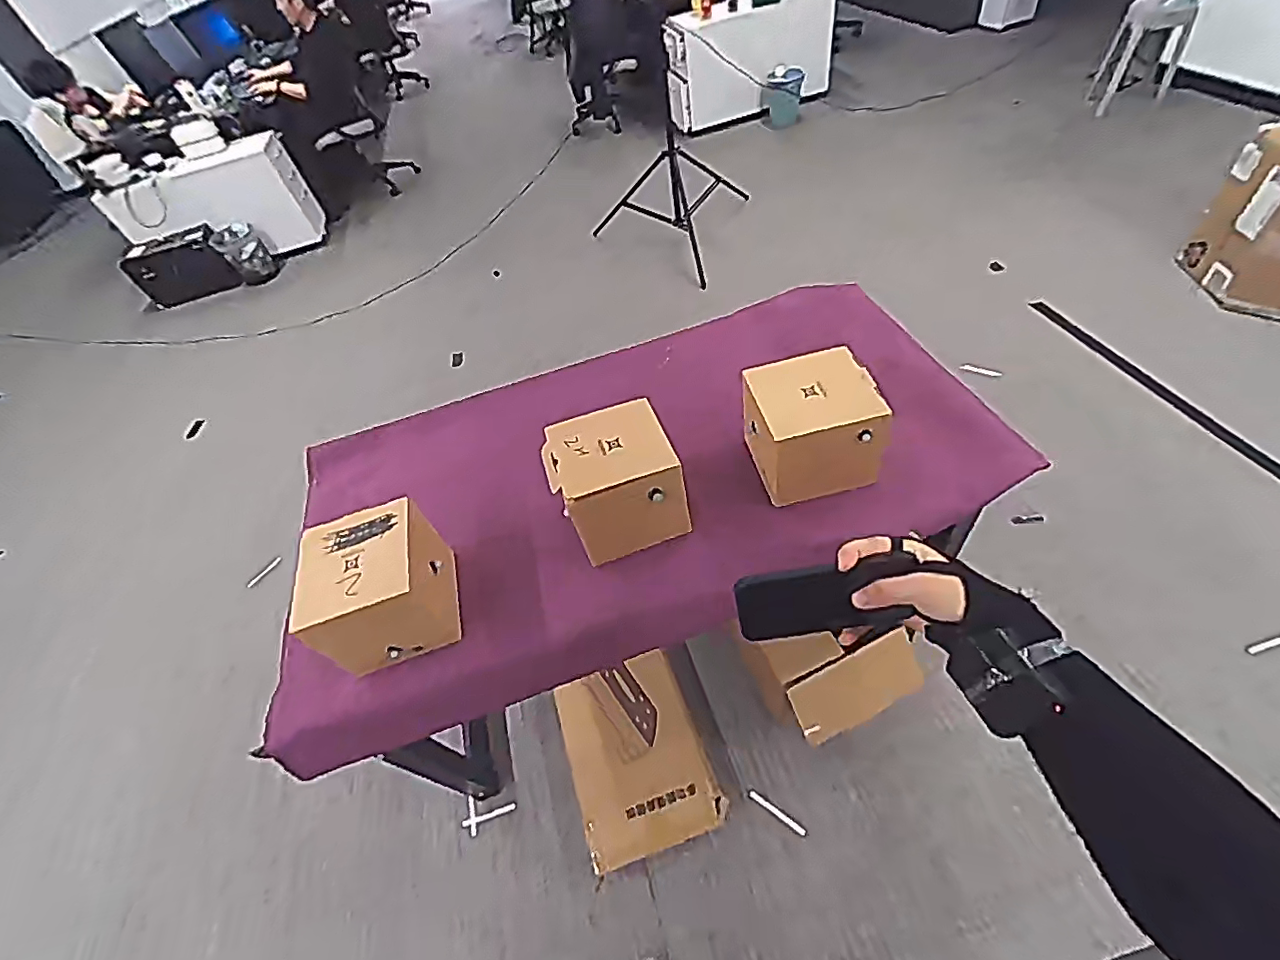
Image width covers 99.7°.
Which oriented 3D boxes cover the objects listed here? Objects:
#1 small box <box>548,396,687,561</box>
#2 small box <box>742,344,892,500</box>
[{"bbox_3d":[-0.031,0.000,0.871,0.179,0.176,0.168,-20,48,-4],"label":"small box"},{"bbox_3d":[0.276,-0.088,0.879,0.179,0.176,0.168,-14,50,0],"label":"small box"}]
